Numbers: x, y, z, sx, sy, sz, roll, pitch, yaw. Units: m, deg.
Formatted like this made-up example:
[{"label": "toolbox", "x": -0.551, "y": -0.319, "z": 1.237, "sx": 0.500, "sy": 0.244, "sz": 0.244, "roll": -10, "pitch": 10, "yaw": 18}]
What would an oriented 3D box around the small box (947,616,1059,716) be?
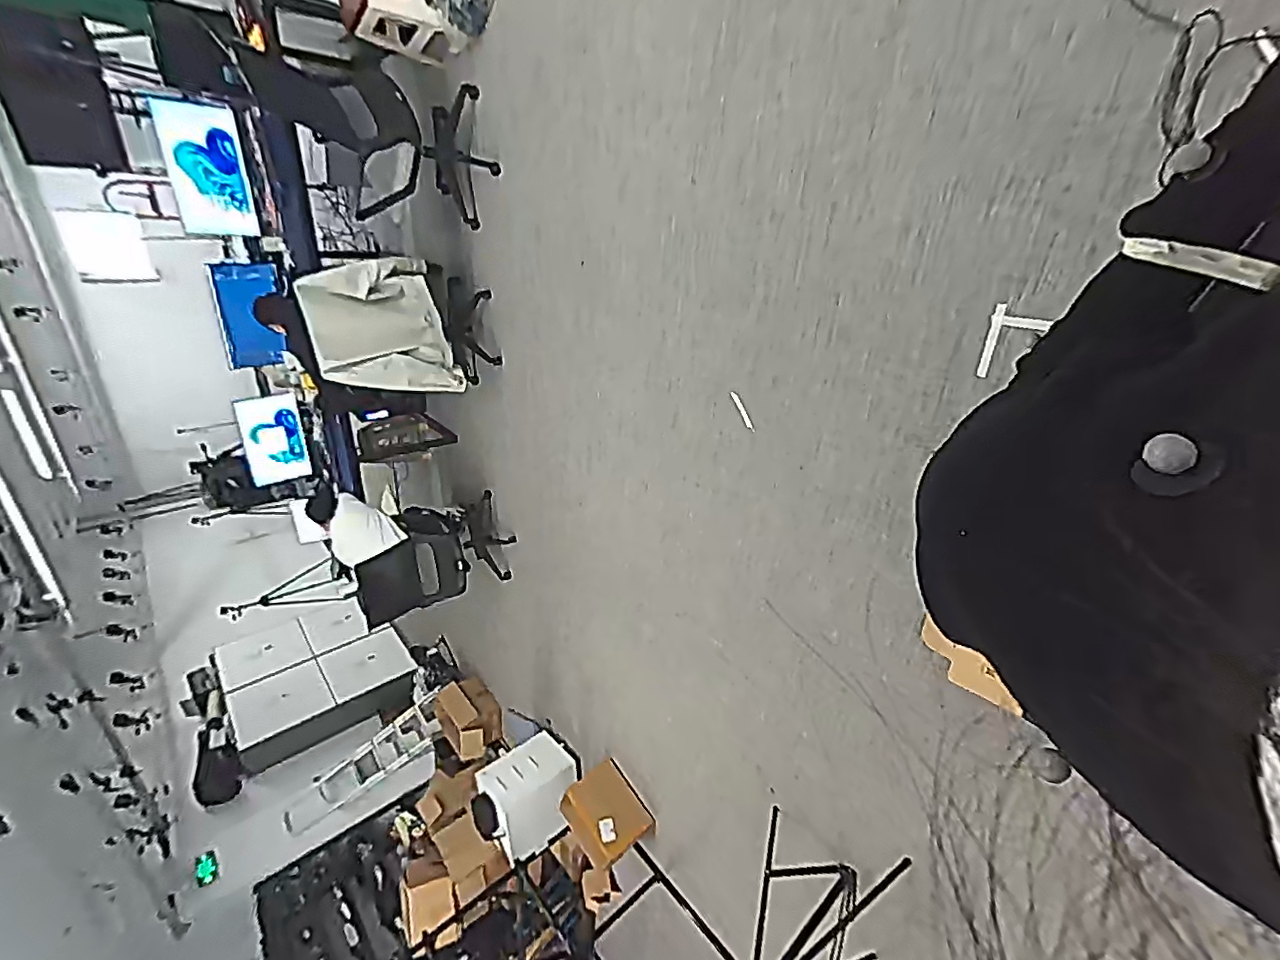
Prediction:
[{"label": "small box", "x": 0.925, "y": 0.452, "z": 1.382, "sx": 0.179, "sy": 0.176, "sz": 0.168, "roll": 23, "pitch": 123, "yaw": 44}]
